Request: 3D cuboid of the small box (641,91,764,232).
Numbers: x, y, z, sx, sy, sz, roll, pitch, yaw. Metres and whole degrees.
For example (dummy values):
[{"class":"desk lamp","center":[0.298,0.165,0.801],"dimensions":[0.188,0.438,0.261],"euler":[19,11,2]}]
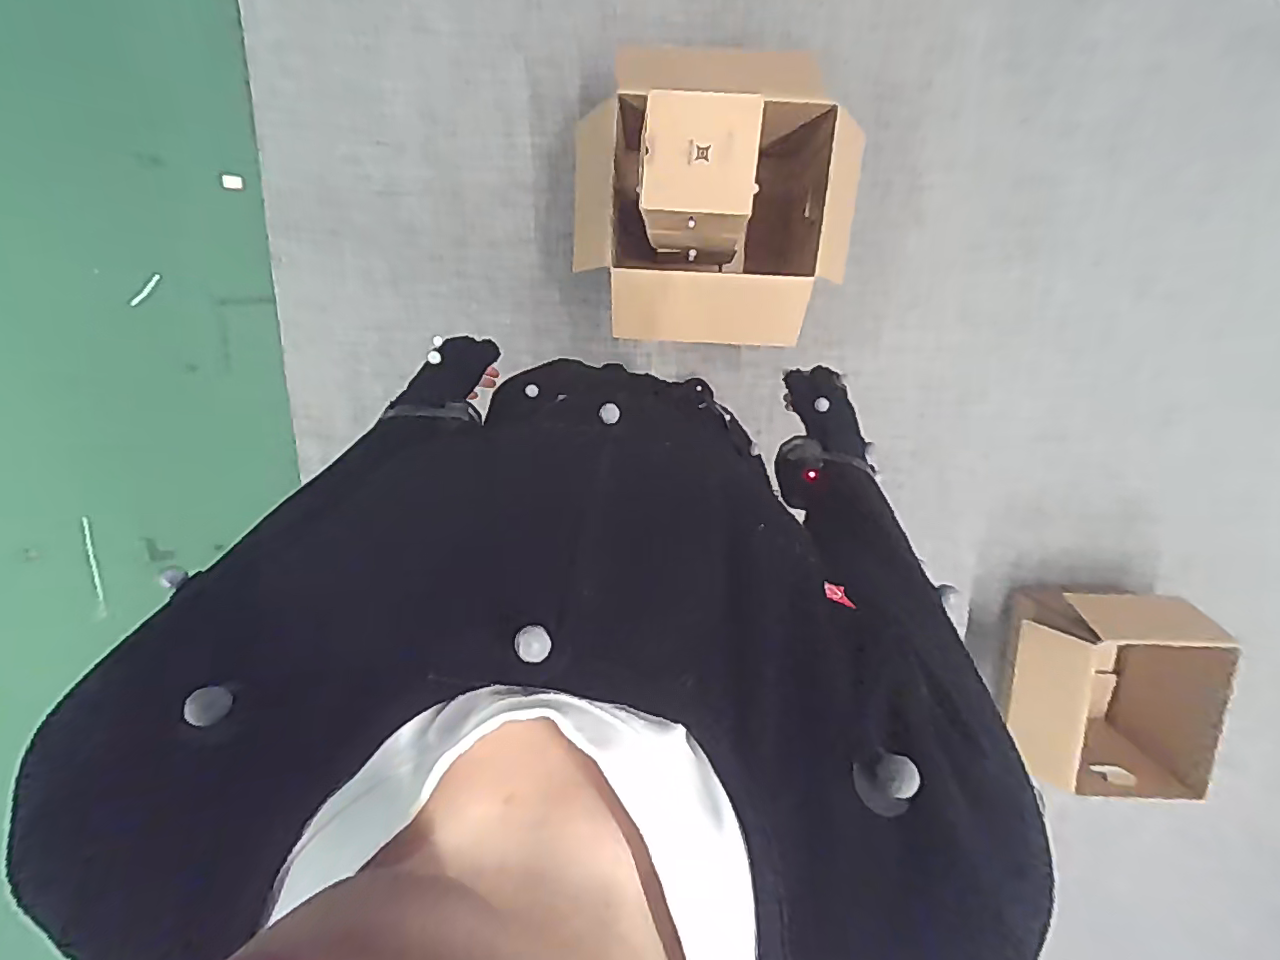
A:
[{"class":"small box","center":[0.100,-0.518,0.902],"dimensions":[0.179,0.176,0.168],"euler":[4,105,3]}]
